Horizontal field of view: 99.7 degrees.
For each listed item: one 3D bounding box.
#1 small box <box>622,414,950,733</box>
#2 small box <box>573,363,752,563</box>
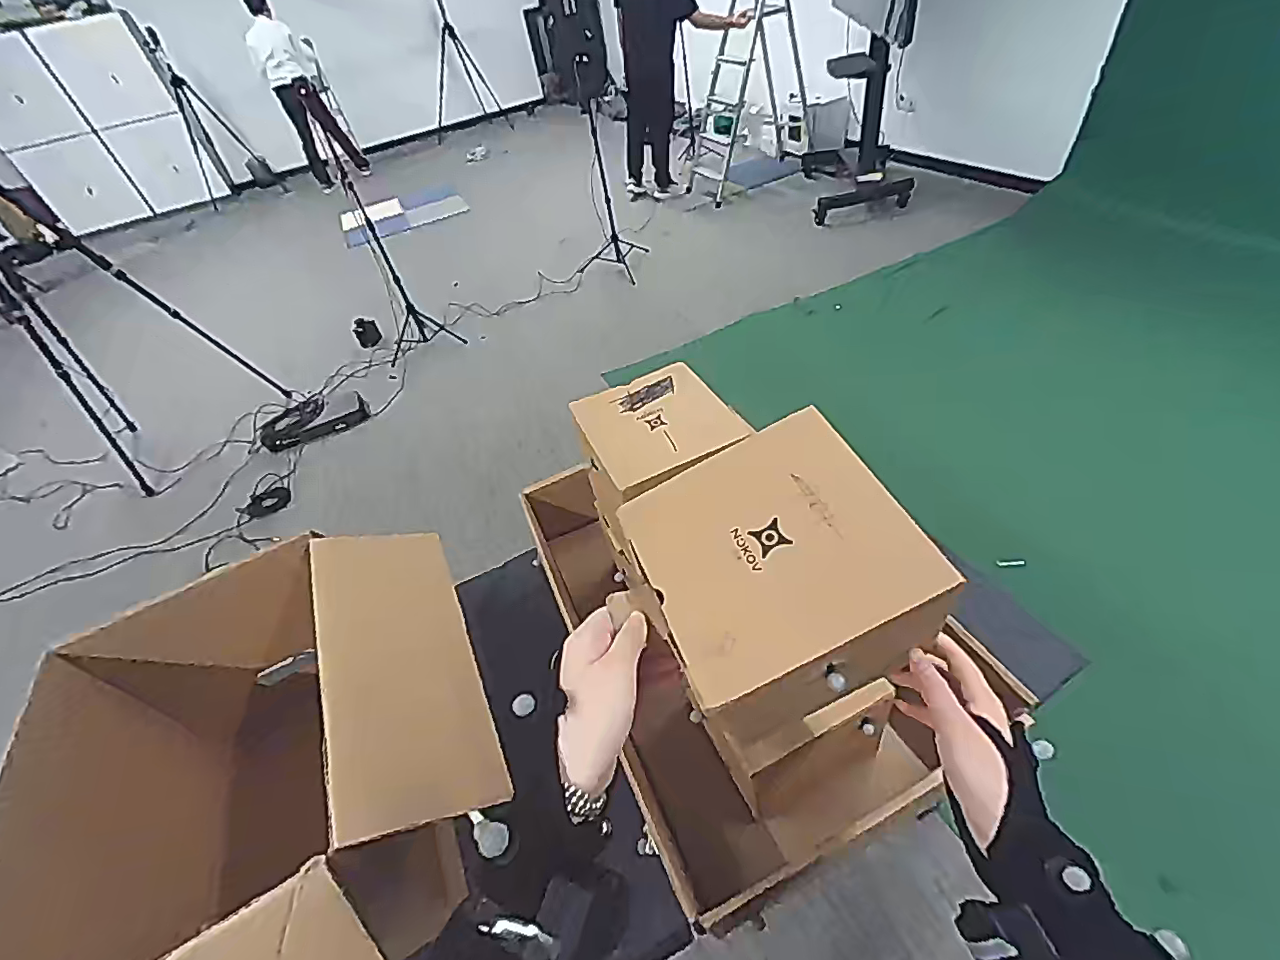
[{"bbox_3d":[0.112,0.086,0.444,0.179,0.176,0.168,-27,55,1],"label":"small box"},{"bbox_3d":[0.029,-0.018,0.705,0.168,0.176,0.179,-23,48,-10],"label":"small box"}]
